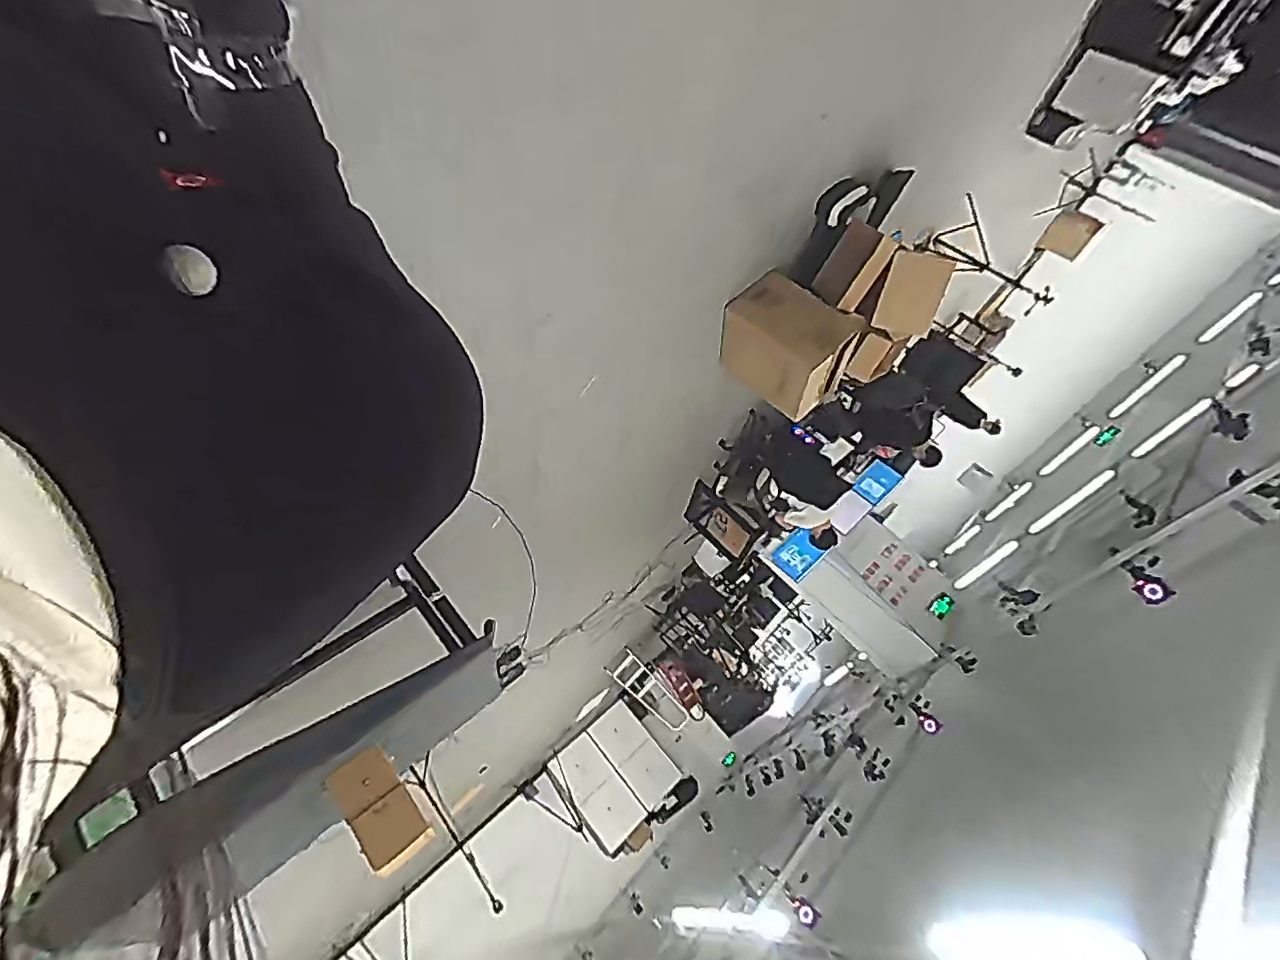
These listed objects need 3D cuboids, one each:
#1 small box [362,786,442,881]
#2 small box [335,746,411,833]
[{"bbox_3d":[-0.751,1.111,1.702,0.179,0.176,0.168,-31,154,-33],"label":"small box"},{"bbox_3d":[-0.866,1.014,1.765,0.179,0.176,0.168,-33,155,-33],"label":"small box"}]
